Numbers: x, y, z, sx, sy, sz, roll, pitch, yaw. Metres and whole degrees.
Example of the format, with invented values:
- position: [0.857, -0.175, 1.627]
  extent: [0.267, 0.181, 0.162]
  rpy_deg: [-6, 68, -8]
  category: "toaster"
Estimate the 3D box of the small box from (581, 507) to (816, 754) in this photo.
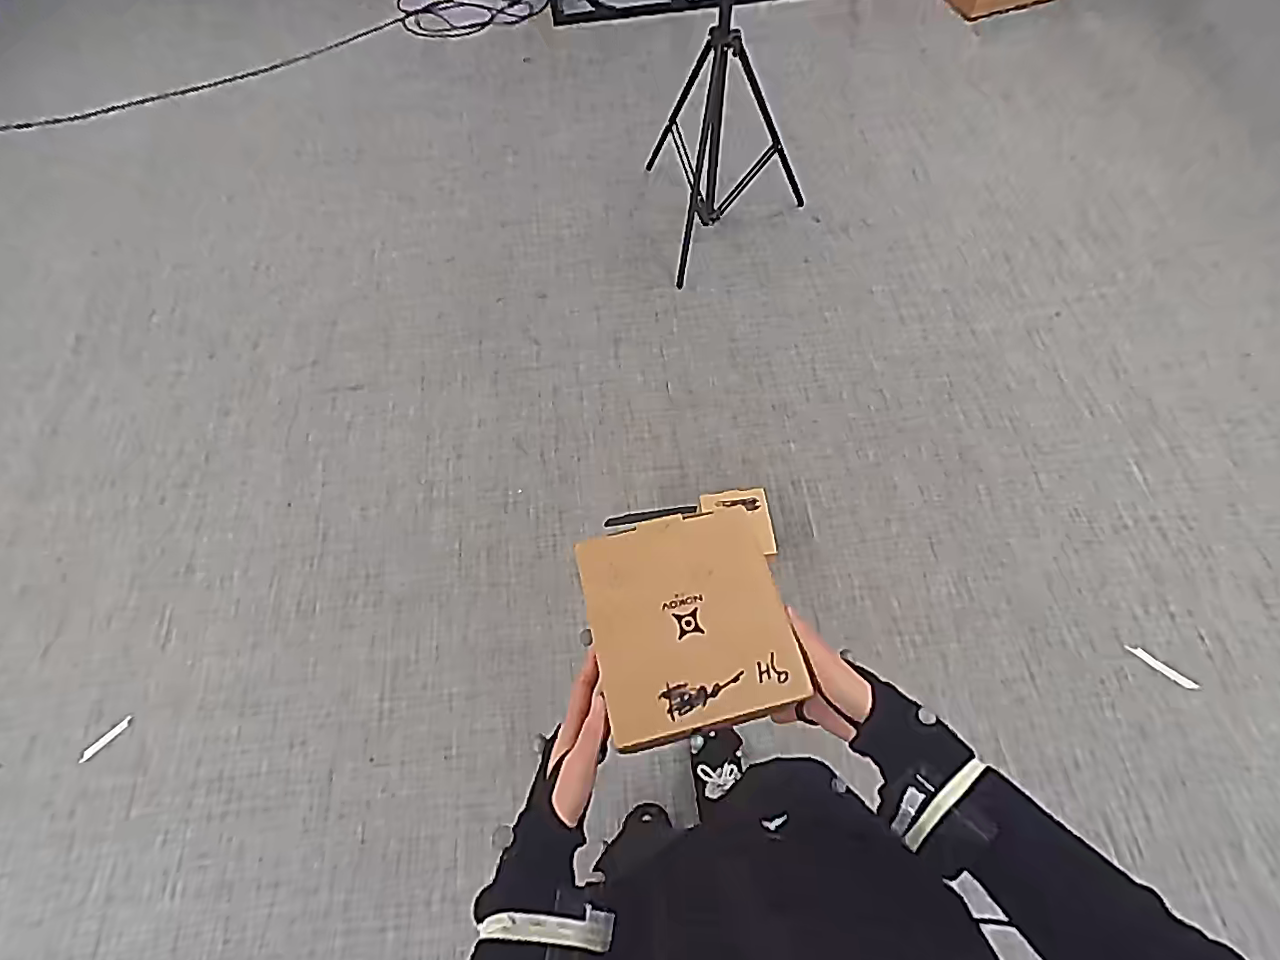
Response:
- position: [0.042, 0.152, 0.527]
  extent: [0.168, 0.176, 0.179]
  rpy_deg: [-12, 62, -6]
  category: "small box"
